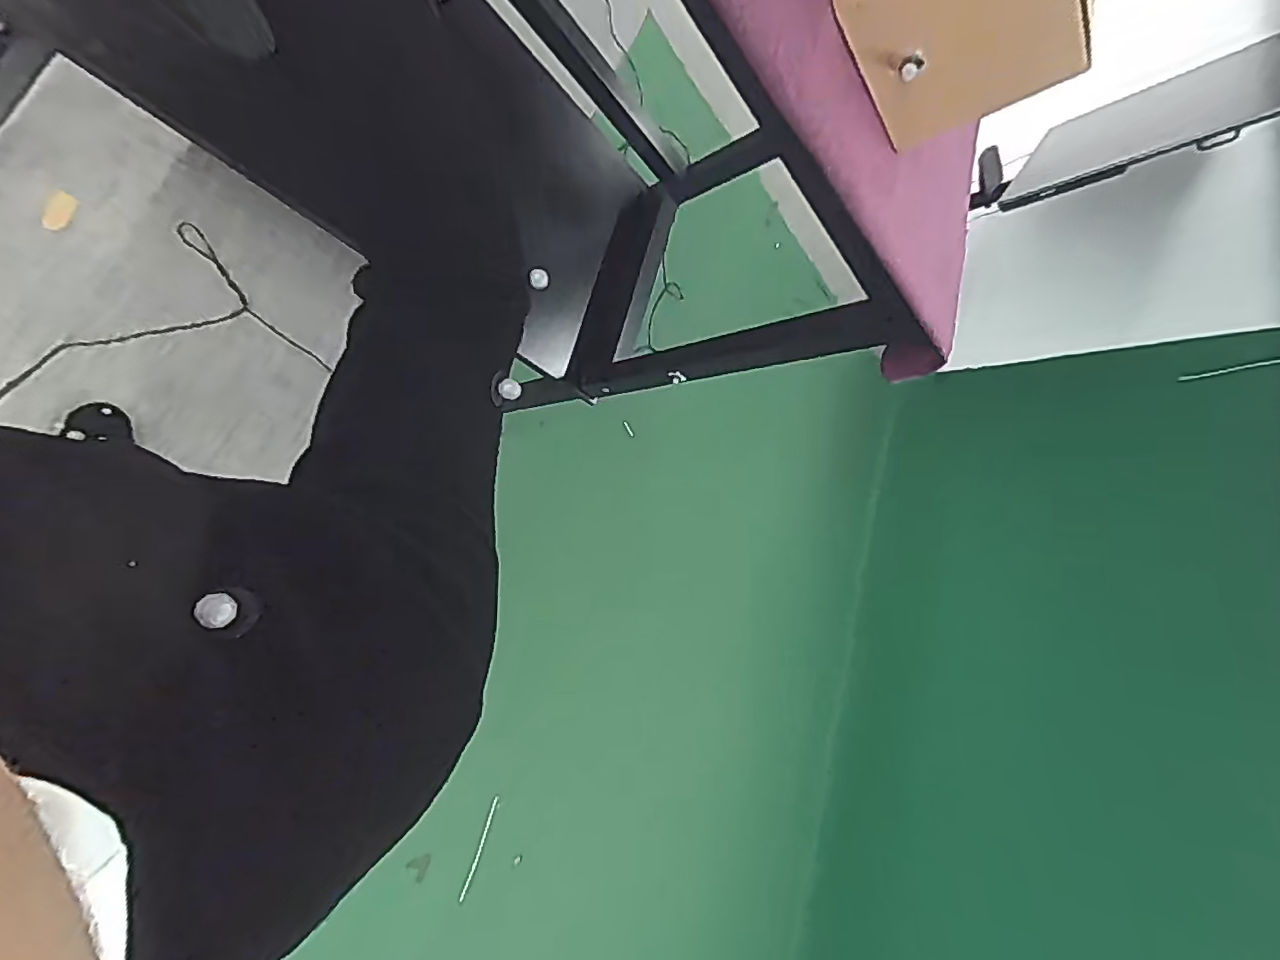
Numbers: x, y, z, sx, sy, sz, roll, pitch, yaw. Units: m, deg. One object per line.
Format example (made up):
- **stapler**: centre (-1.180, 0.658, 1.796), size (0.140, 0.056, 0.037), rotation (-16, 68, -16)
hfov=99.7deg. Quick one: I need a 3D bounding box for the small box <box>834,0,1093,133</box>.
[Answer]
- **small box**: centre (0.301, -0.464, 0.498), size (0.179, 0.176, 0.168), rotation (32, 66, -40)
